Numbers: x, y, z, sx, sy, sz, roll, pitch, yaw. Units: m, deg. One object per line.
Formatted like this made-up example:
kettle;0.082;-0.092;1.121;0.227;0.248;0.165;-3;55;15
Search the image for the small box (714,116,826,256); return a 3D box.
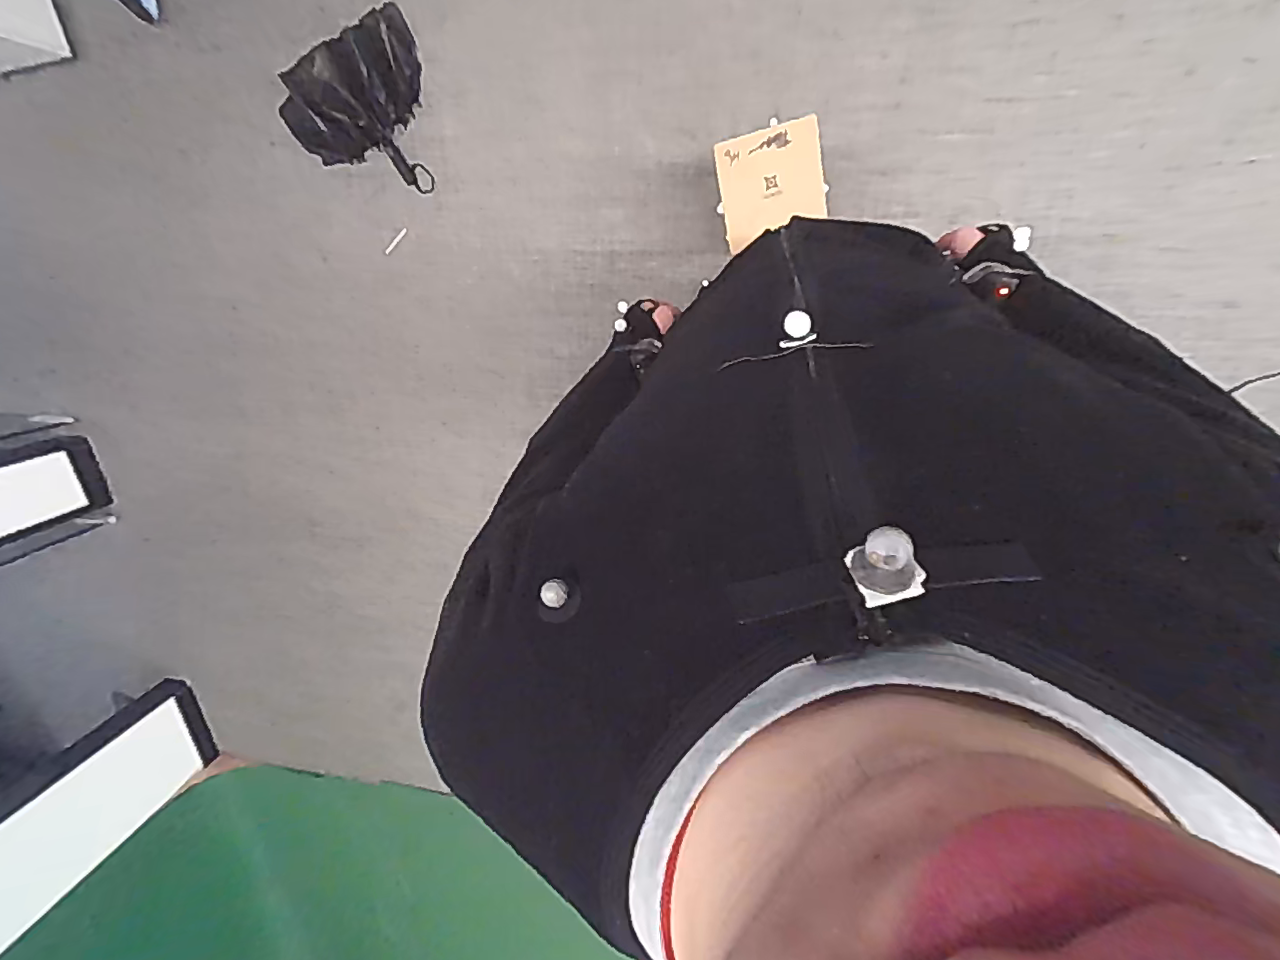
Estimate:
small box;0.232;-0.510;0.957;0.168;0.176;0.179;-7;112;16
